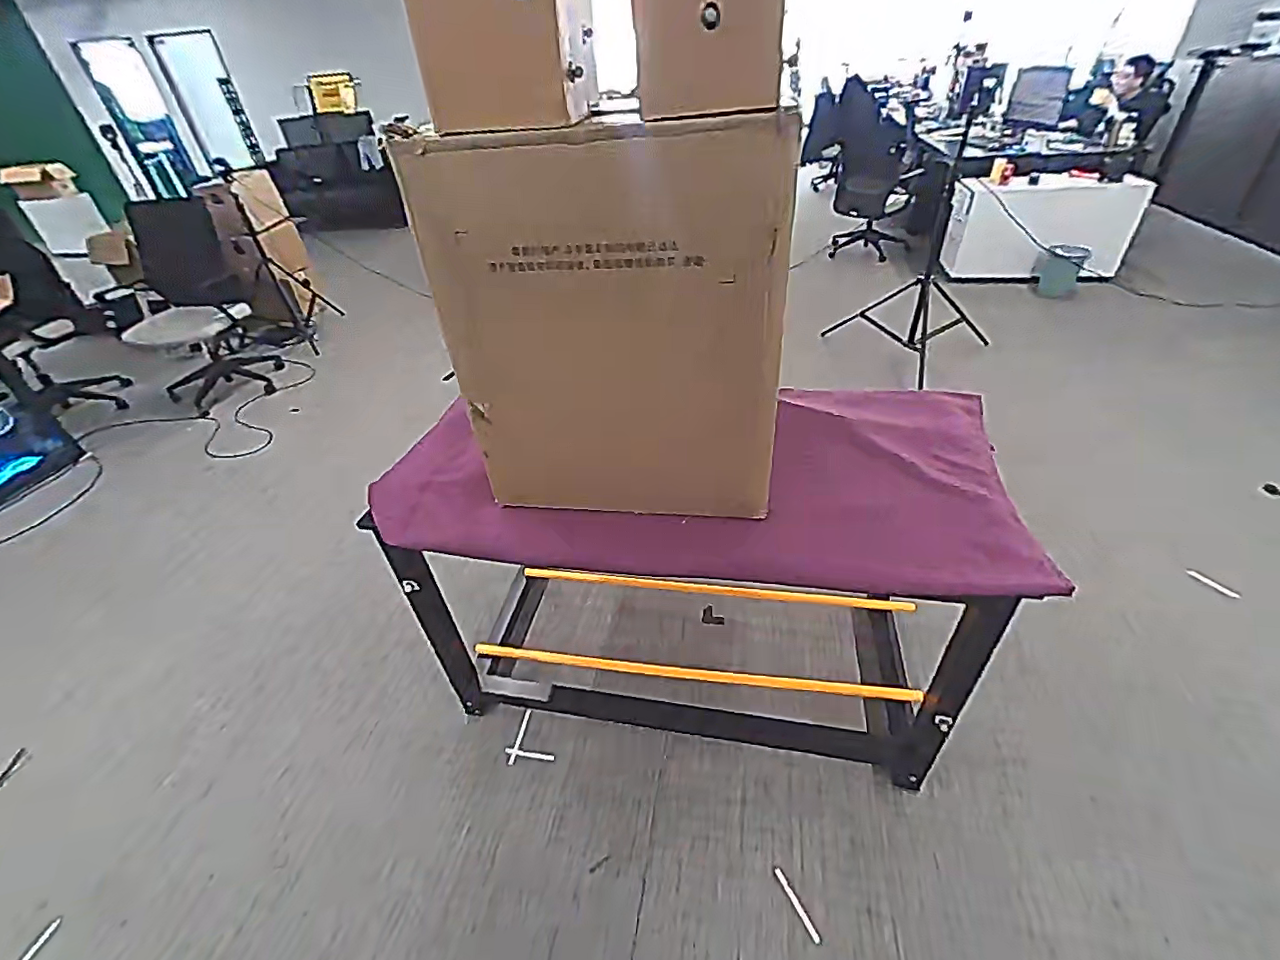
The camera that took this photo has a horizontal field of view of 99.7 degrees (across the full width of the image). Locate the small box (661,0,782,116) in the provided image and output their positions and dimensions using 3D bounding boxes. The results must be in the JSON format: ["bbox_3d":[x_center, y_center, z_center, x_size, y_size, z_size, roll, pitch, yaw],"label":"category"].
[{"bbox_3d":[0.125,-0.656,0.811,0.168,0.176,0.179,3,38,12],"label":"small box"}]
